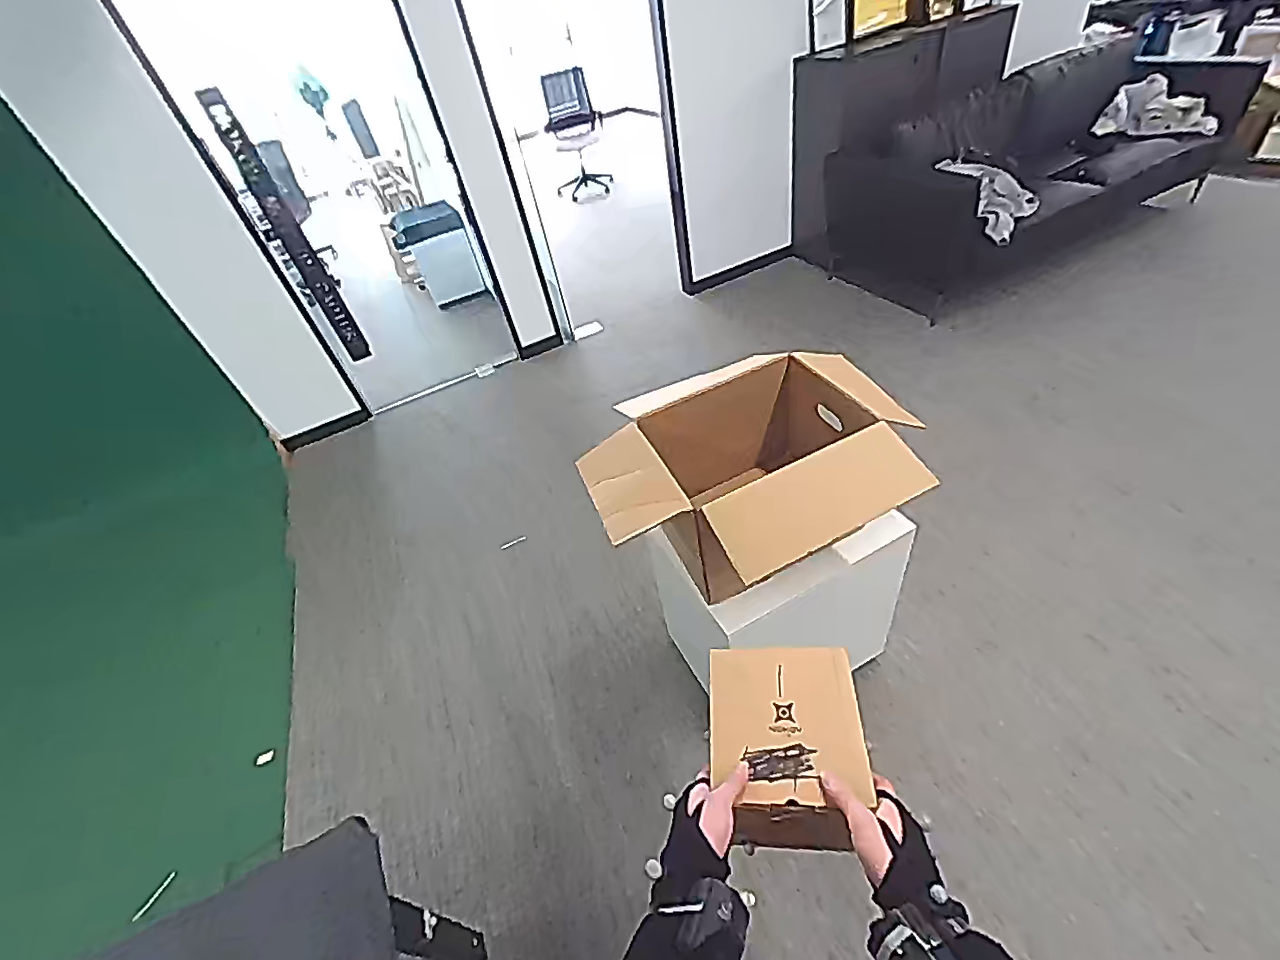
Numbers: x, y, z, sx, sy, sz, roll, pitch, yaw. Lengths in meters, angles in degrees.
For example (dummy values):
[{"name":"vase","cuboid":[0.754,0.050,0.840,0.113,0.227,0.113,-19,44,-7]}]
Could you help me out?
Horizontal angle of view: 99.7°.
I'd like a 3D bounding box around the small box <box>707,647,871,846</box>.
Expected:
[{"name":"small box","cuboid":[0.173,0.324,0.659,0.168,0.176,0.179,-4,43,11]}]
